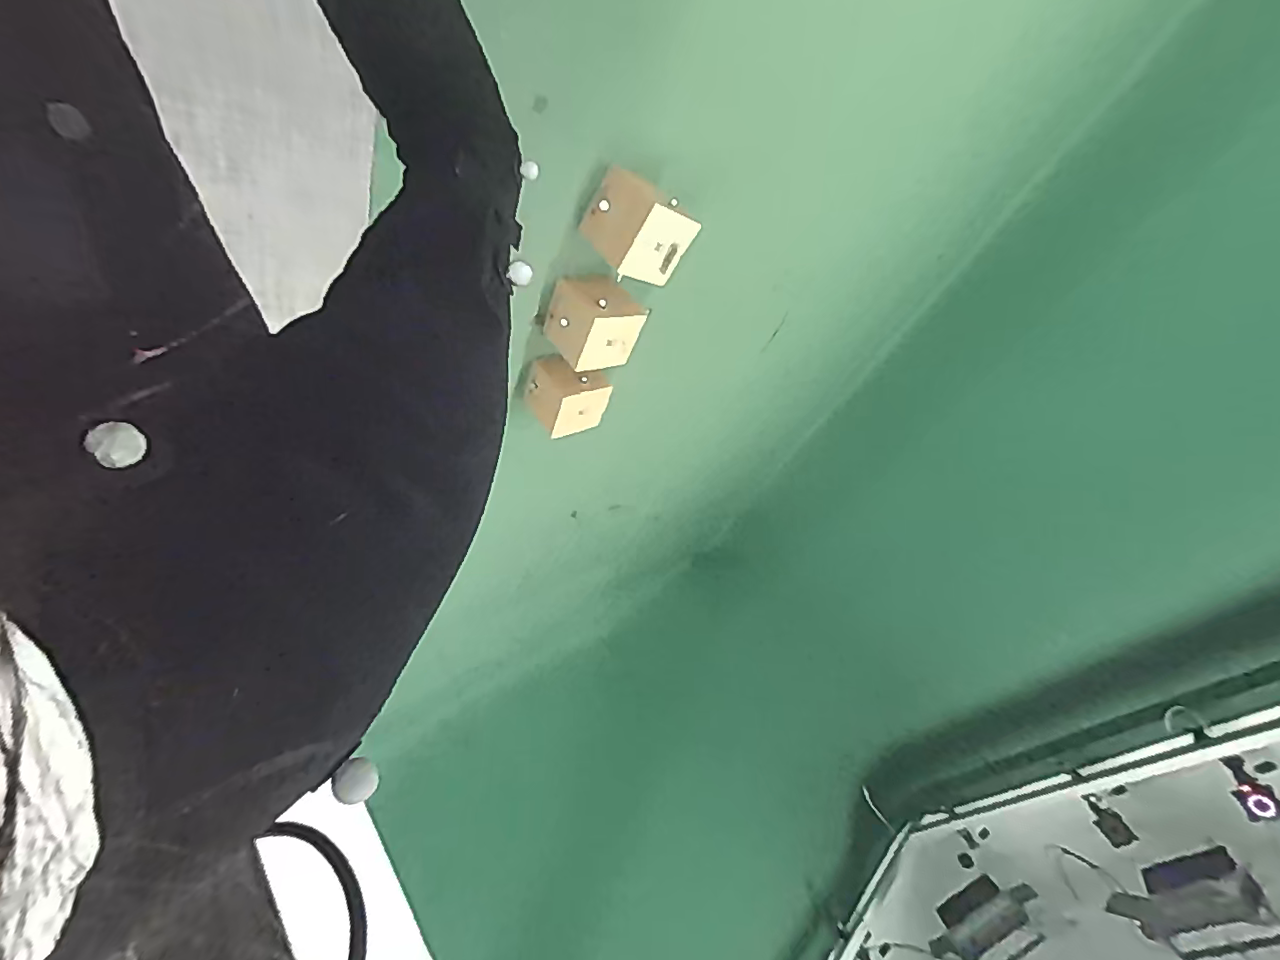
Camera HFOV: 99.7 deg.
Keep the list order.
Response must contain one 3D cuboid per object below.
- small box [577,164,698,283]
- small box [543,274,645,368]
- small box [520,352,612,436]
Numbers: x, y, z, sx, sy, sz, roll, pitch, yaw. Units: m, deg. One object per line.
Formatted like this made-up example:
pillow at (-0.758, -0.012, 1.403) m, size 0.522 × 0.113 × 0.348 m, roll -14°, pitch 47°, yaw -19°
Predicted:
small box at (-0.008, -0.584, 1.238) m, size 0.179 × 0.176 × 0.168 m, roll -9°, pitch 144°, yaw -51°
small box at (-0.125, -0.413, 1.393) m, size 0.179 × 0.176 × 0.168 m, roll -20°, pitch 153°, yaw -41°
small box at (-0.217, -0.258, 1.563) m, size 0.179 × 0.176 × 0.168 m, roll -22°, pitch 153°, yaw -38°
